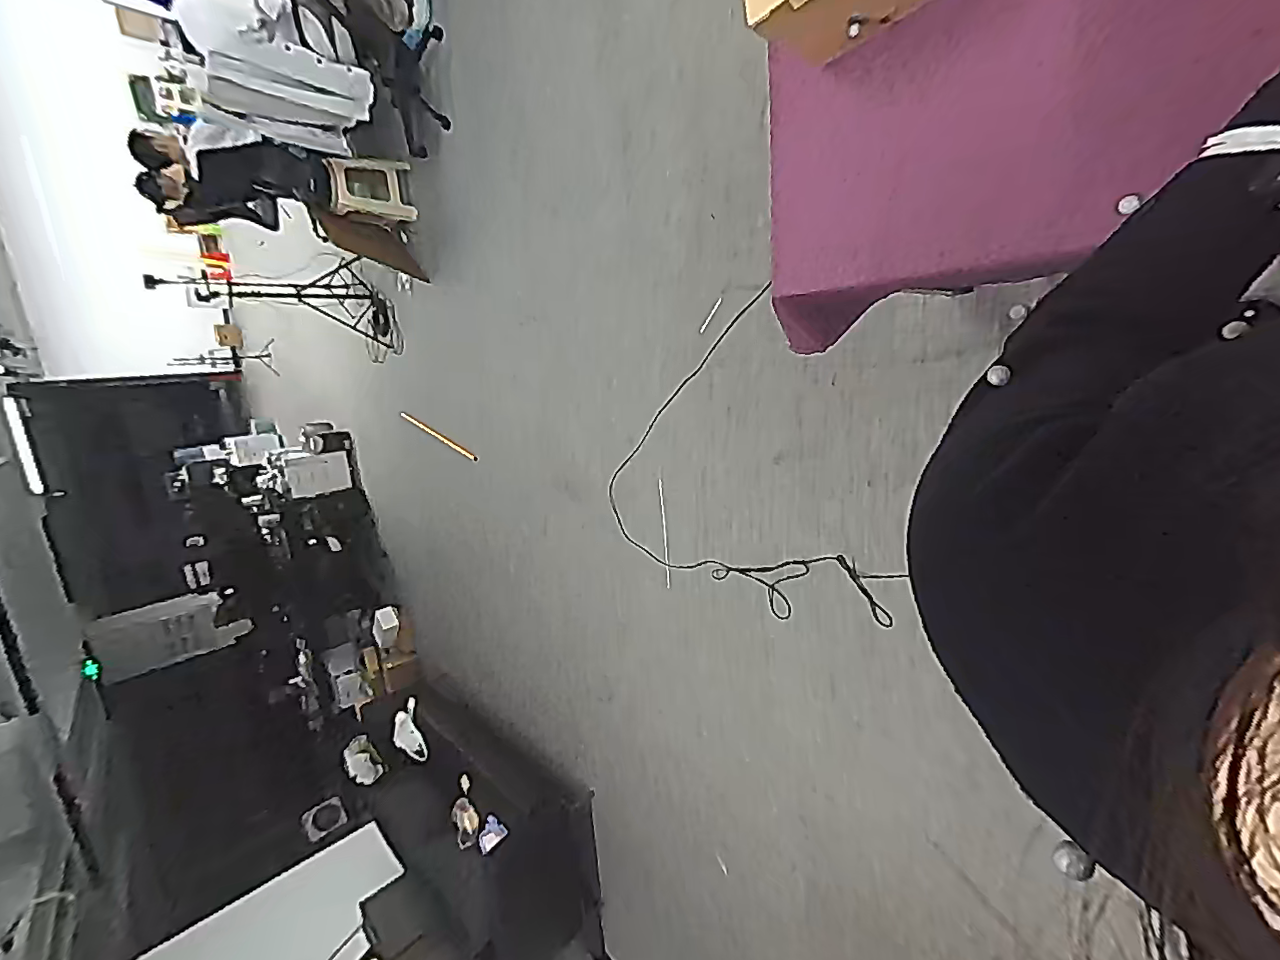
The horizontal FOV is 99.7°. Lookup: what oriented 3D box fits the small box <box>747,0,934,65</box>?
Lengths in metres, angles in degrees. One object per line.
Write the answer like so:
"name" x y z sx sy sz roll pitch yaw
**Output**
"small box" 0.239 -0.648 0.642 0.168 0.176 0.179 2 103 48
